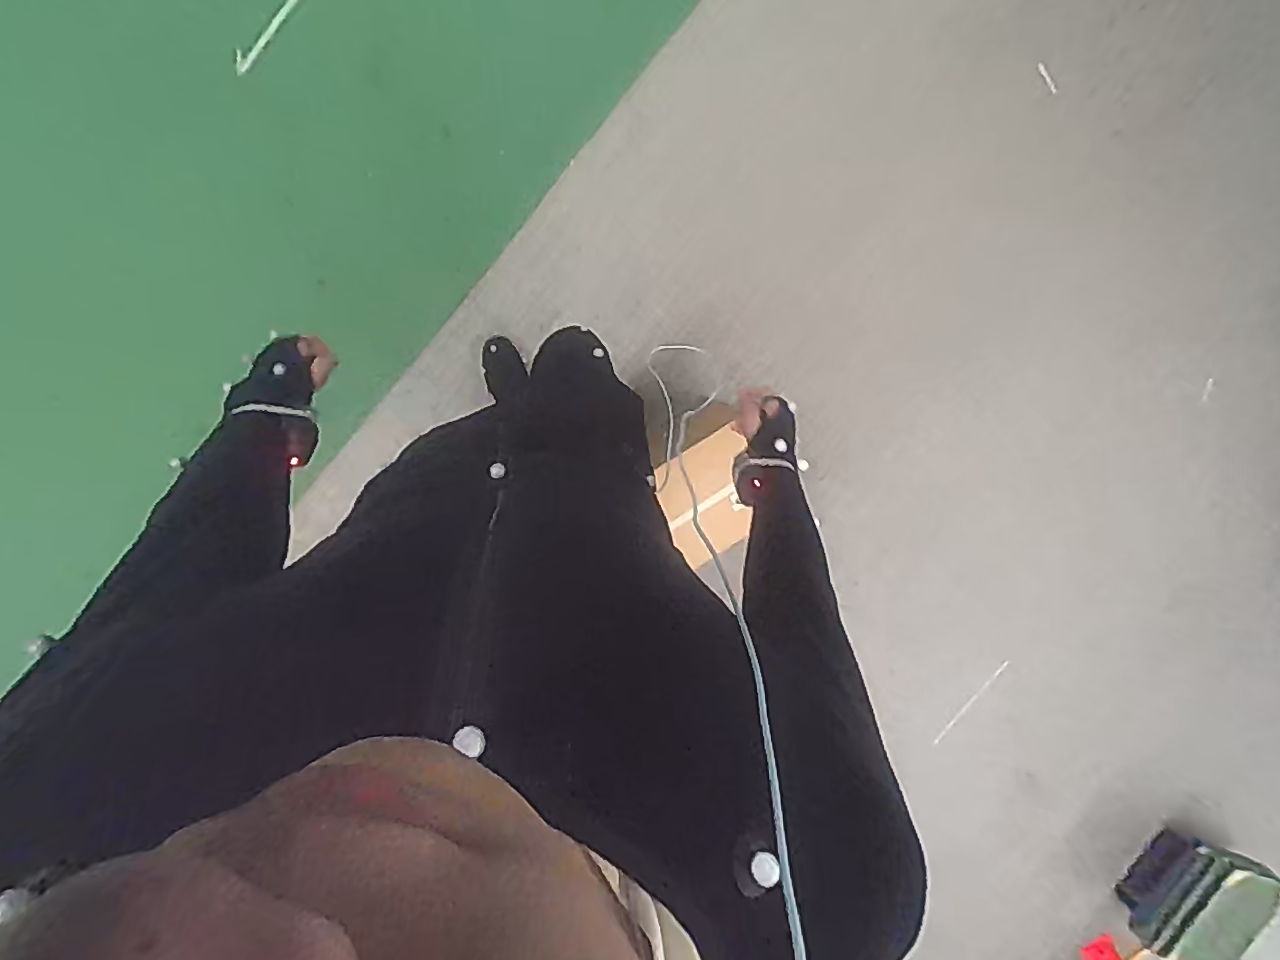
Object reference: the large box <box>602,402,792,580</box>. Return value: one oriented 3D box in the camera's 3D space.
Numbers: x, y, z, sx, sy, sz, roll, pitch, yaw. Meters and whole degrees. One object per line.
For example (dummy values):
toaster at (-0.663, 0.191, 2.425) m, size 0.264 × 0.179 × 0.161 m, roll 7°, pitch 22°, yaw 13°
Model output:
large box at (0.151, 0.015, 1.581) m, size 0.408 × 0.320 × 0.320 m, roll -32°, pitch 109°, yaw -4°
